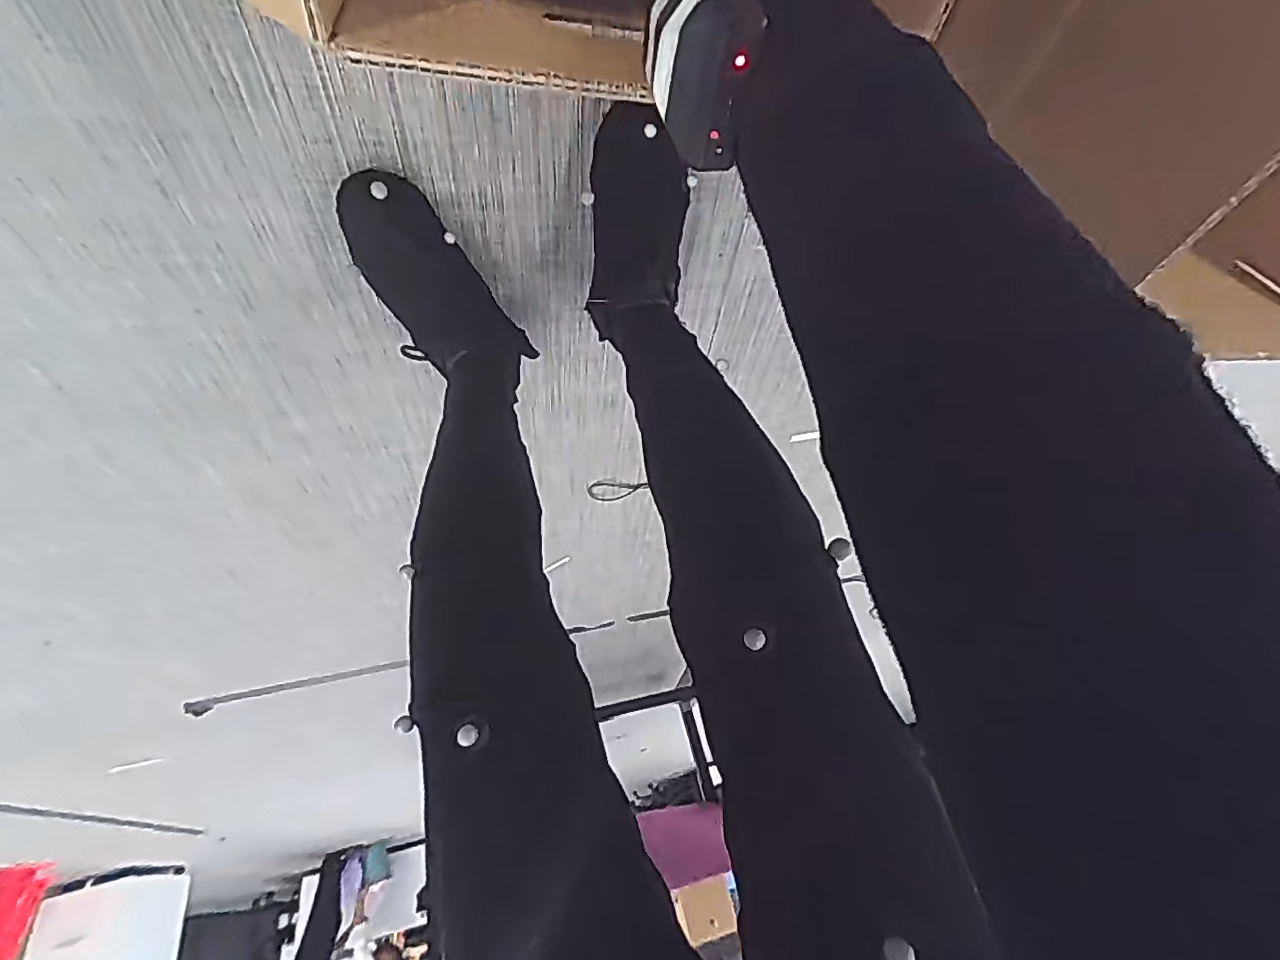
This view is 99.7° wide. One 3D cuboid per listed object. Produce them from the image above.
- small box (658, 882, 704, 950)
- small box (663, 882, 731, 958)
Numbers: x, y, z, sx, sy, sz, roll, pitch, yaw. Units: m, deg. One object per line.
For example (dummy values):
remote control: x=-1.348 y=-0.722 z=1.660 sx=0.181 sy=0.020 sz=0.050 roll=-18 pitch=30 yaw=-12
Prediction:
small box: x=0.179 y=1.670 z=2.079 sx=0.179 sy=0.176 sz=0.168 roll=-8 pitch=144 yaw=-11
small box: x=0.194 y=1.525 z=1.886 sx=0.179 sy=0.176 sz=0.168 roll=-7 pitch=144 yaw=-13
